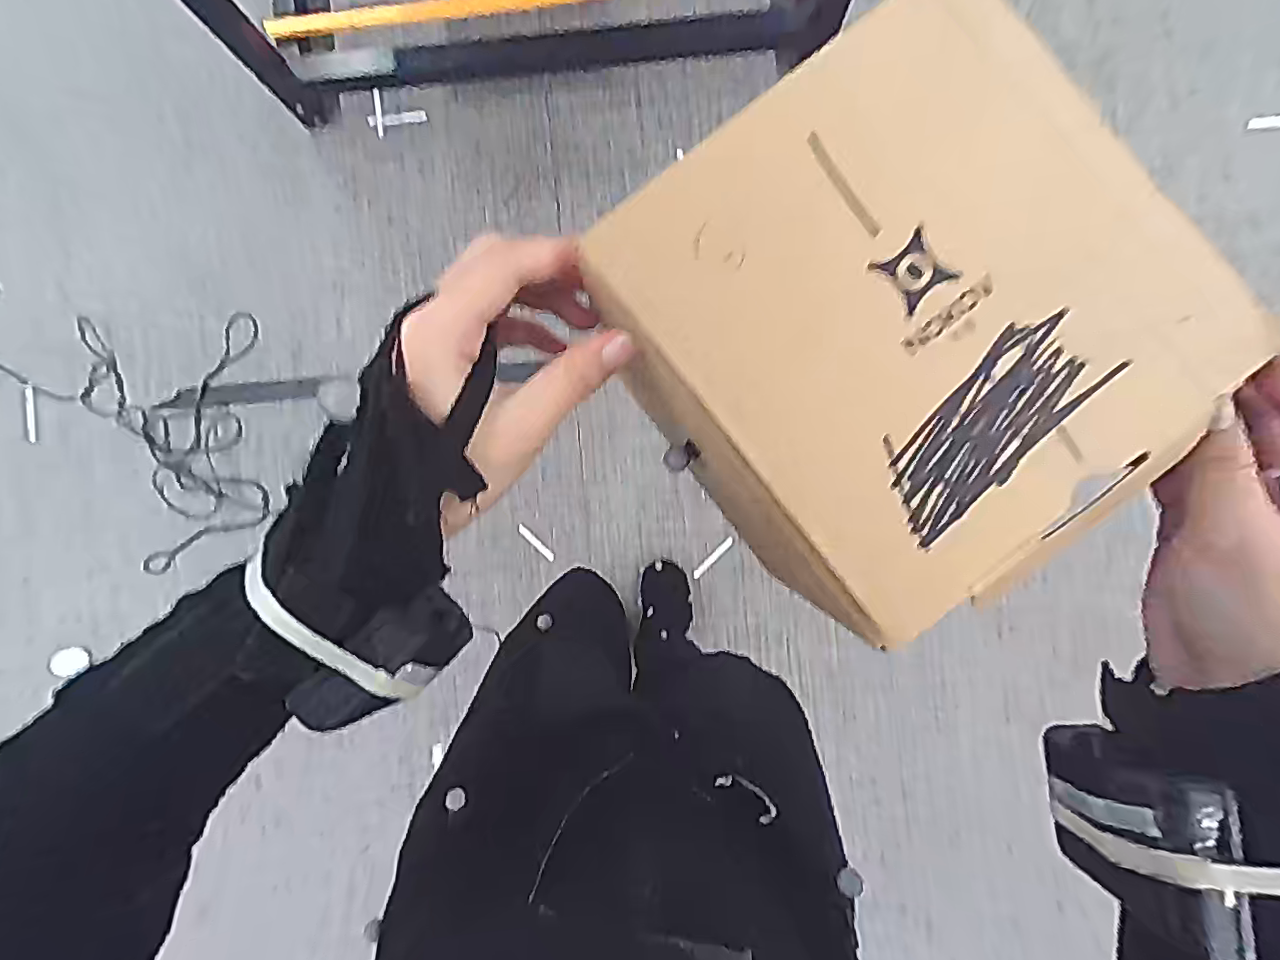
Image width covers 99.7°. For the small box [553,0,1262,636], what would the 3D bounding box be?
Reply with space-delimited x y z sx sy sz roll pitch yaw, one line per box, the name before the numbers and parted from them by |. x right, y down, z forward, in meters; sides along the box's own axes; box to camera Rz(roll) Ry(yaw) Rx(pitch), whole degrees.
small box | 0.087 -0.063 0.256 0.168 0.176 0.179 -38 88 -1
